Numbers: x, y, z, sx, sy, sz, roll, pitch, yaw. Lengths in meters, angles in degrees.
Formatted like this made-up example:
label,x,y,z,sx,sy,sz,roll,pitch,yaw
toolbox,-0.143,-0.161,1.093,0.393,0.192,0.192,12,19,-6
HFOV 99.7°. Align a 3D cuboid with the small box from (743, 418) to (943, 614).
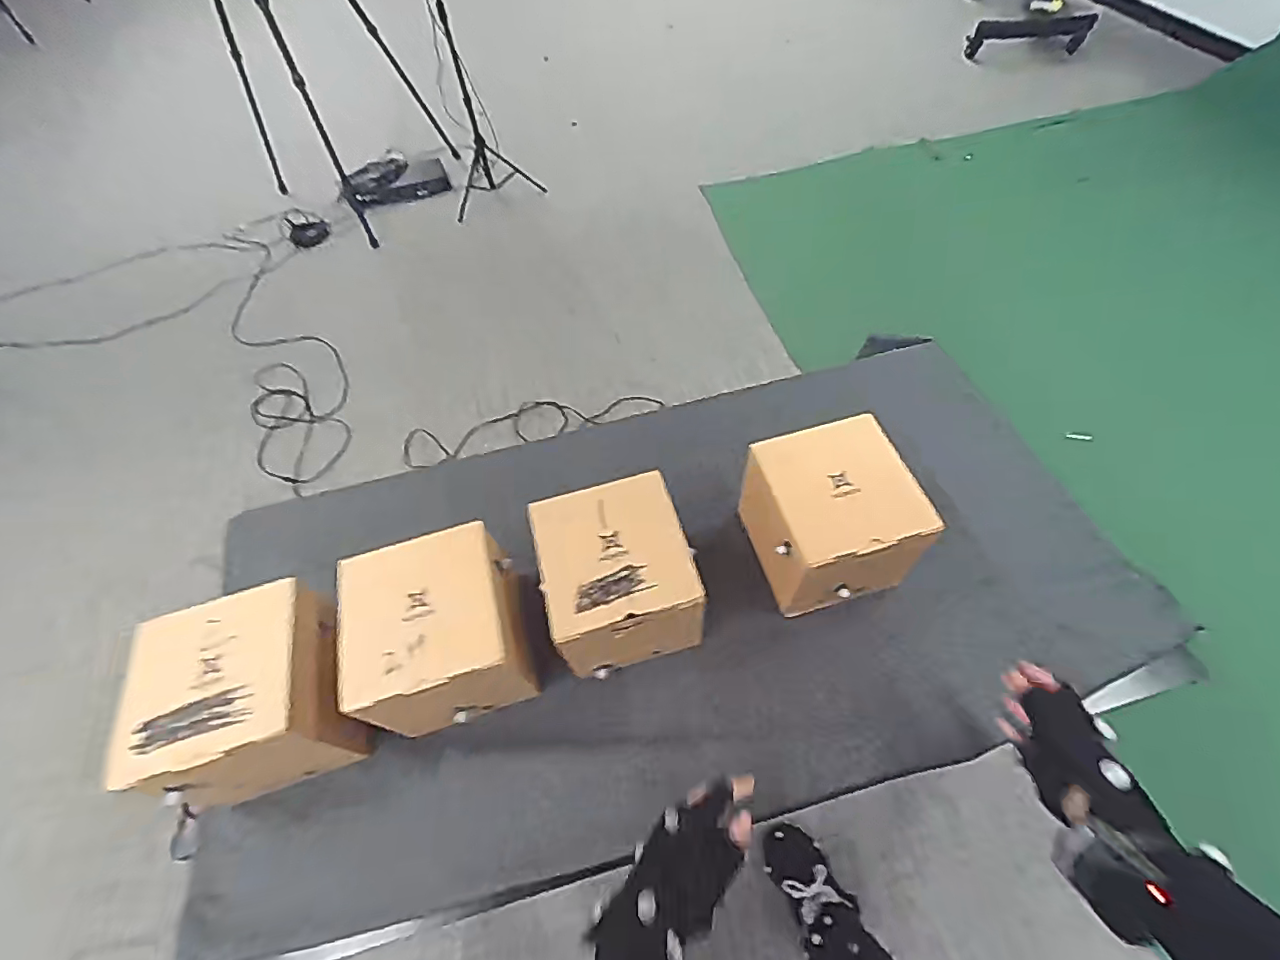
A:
label,x,y,z,sx,sy,sz,roll,pitch,yaw
small box,0.244,0.051,0.709,0.168,0.176,0.179,-15,58,-6
